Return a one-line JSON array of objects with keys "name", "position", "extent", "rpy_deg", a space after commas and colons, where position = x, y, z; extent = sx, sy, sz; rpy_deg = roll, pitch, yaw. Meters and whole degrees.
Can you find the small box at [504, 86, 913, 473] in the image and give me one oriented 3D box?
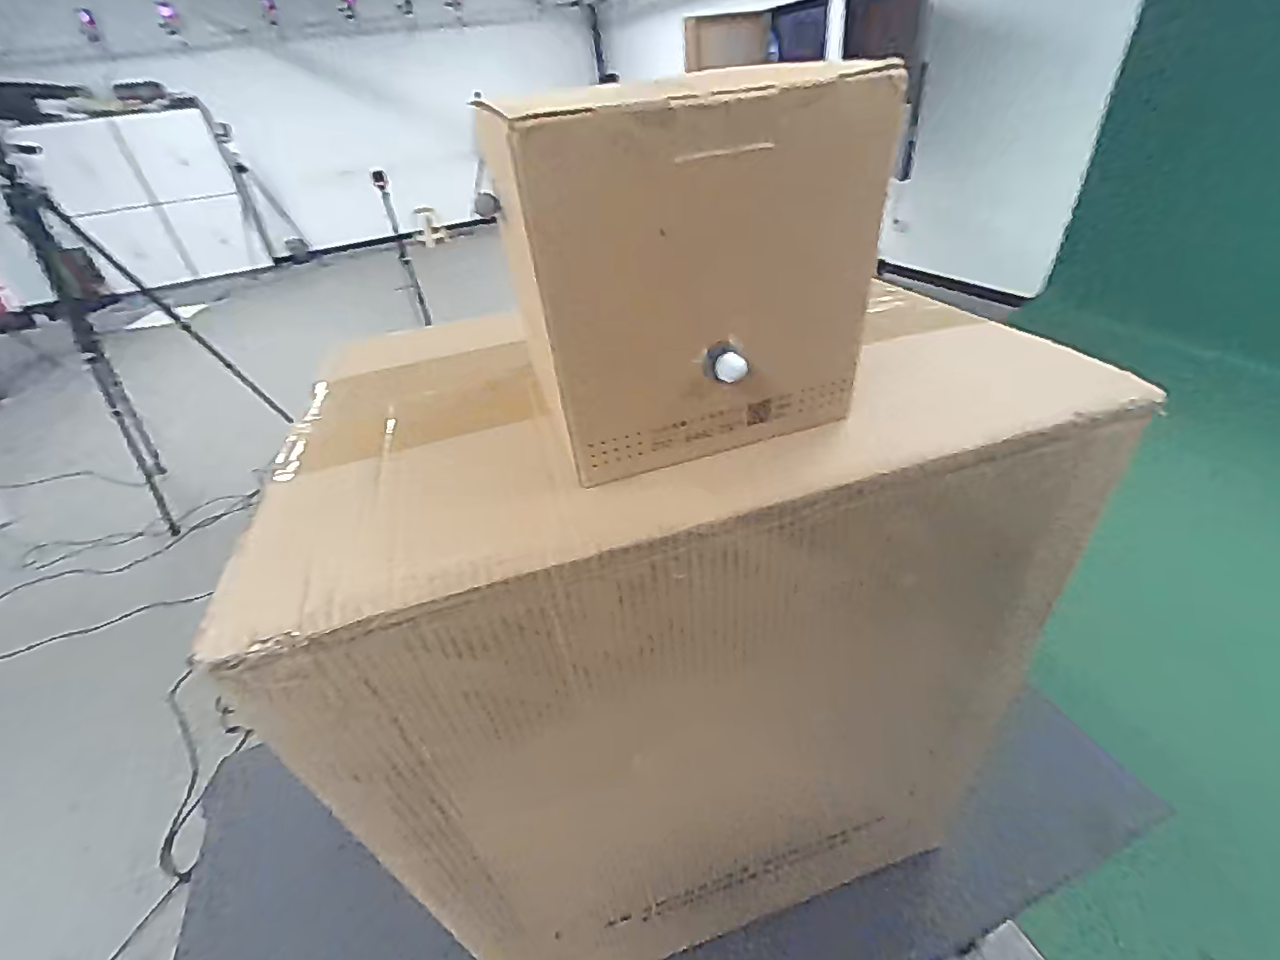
[{"name": "small box", "position": [0.023, -0.130, 0.332], "extent": [0.168, 0.176, 0.179], "rpy_deg": [-15, 39, -11]}]
